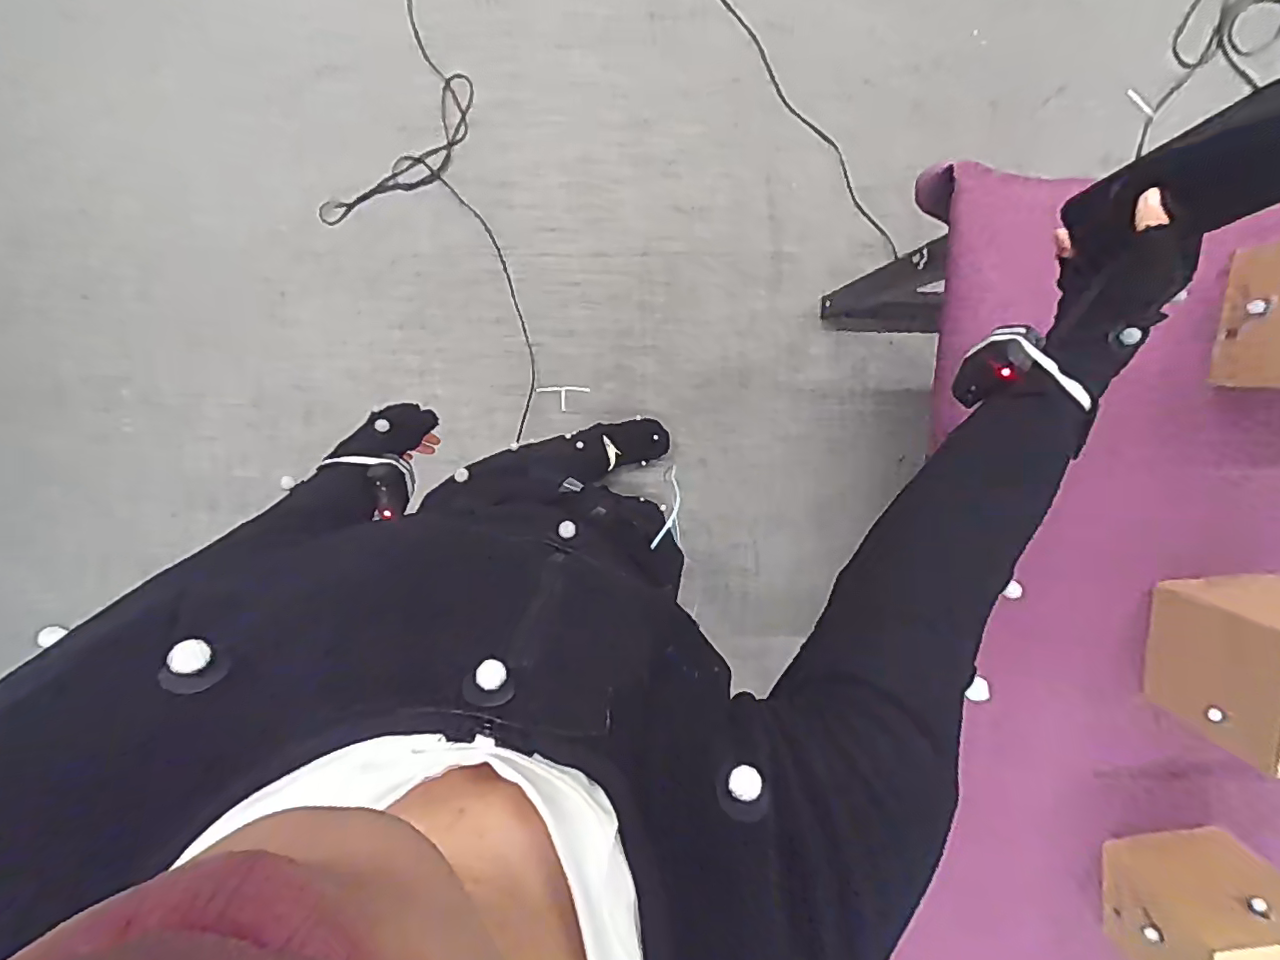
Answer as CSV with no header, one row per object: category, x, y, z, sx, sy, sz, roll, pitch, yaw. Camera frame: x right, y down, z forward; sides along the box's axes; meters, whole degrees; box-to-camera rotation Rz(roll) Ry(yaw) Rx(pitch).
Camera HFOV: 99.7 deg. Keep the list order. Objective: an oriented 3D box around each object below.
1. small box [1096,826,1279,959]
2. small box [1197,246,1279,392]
small box,0.777,0.618,0.745,0.179,0.176,0.168,-9,99,1
small box,0.809,-0.183,0.606,0.179,0.176,0.168,3,100,1
